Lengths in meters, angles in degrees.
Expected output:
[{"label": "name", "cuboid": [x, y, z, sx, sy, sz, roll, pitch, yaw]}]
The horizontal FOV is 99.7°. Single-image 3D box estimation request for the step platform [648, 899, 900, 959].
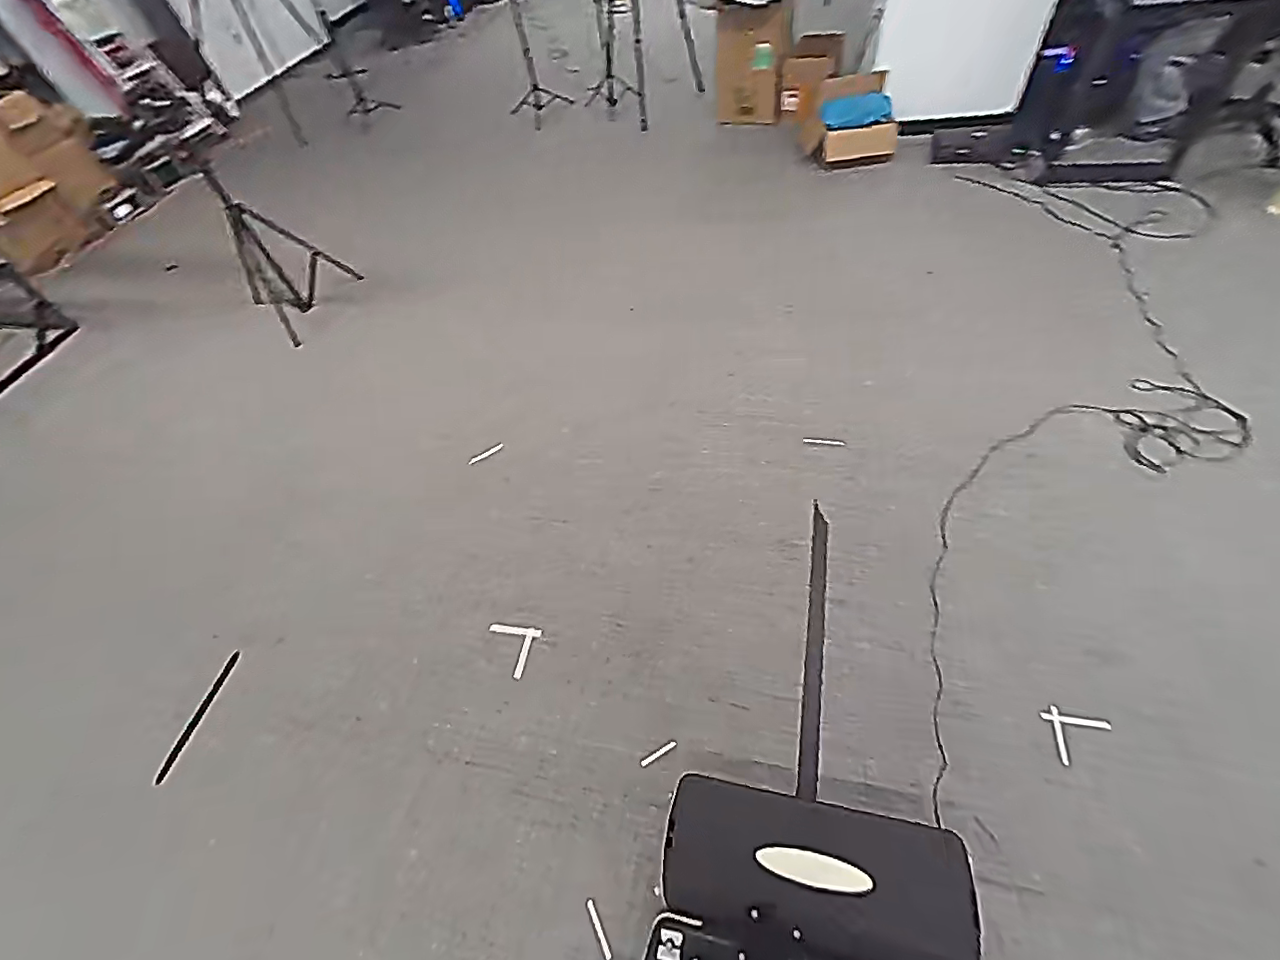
[{"label": "step platform", "cuboid": [0.343, 1.071, 1.055, 0.684, 0.204, 0.286, 4, 54, 14]}]
